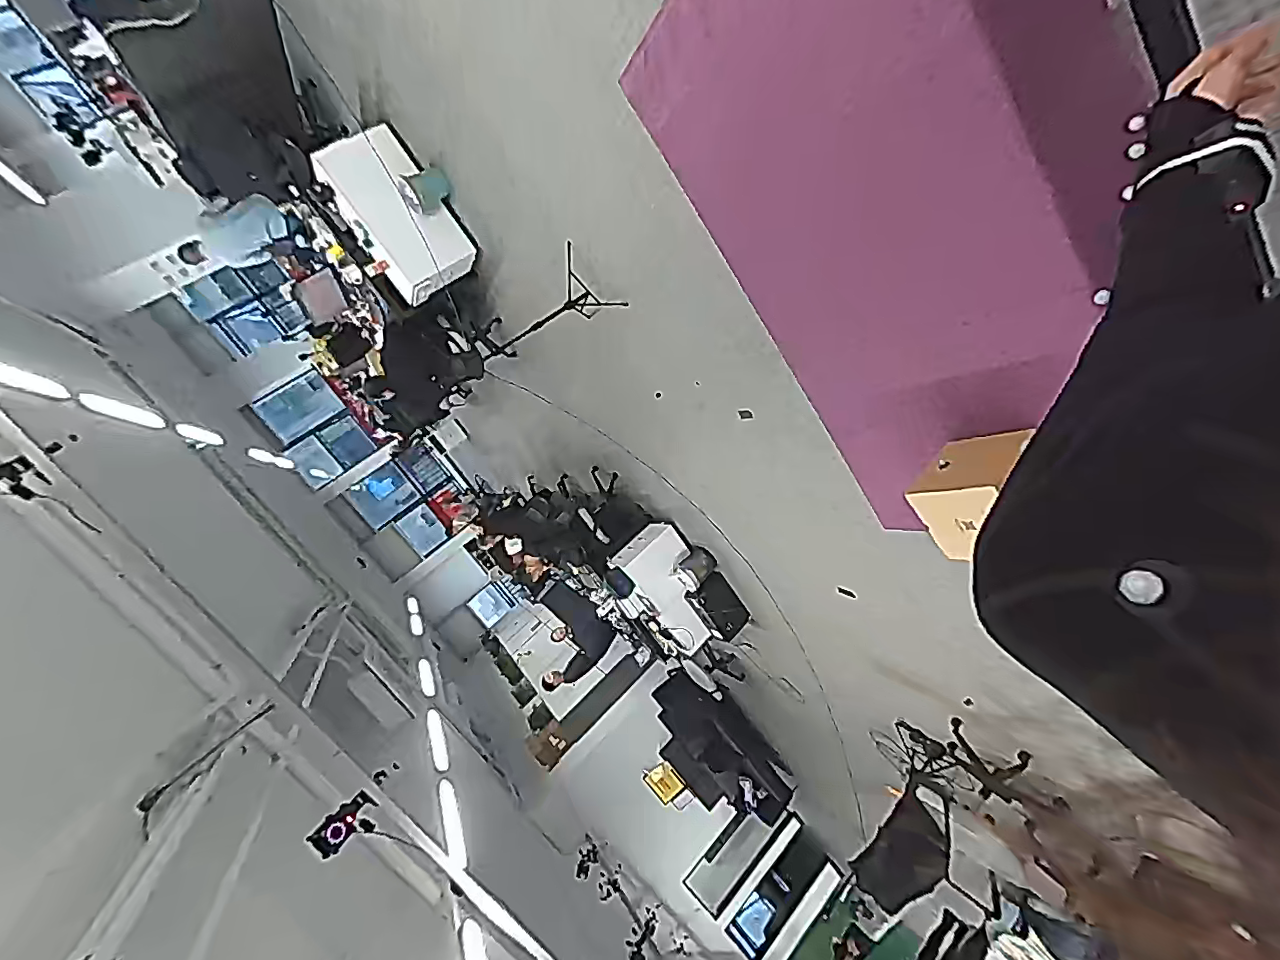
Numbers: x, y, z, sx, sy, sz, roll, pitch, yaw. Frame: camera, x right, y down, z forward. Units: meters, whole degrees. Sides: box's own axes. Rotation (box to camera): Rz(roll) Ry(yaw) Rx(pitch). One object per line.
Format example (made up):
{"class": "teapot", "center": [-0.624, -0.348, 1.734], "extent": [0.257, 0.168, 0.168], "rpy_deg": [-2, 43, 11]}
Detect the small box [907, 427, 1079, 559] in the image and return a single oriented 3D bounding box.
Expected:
{"class": "small box", "center": [0.643, 0.024, 0.990], "extent": [0.168, 0.176, 0.179], "rpy_deg": [53, 160, -10]}
